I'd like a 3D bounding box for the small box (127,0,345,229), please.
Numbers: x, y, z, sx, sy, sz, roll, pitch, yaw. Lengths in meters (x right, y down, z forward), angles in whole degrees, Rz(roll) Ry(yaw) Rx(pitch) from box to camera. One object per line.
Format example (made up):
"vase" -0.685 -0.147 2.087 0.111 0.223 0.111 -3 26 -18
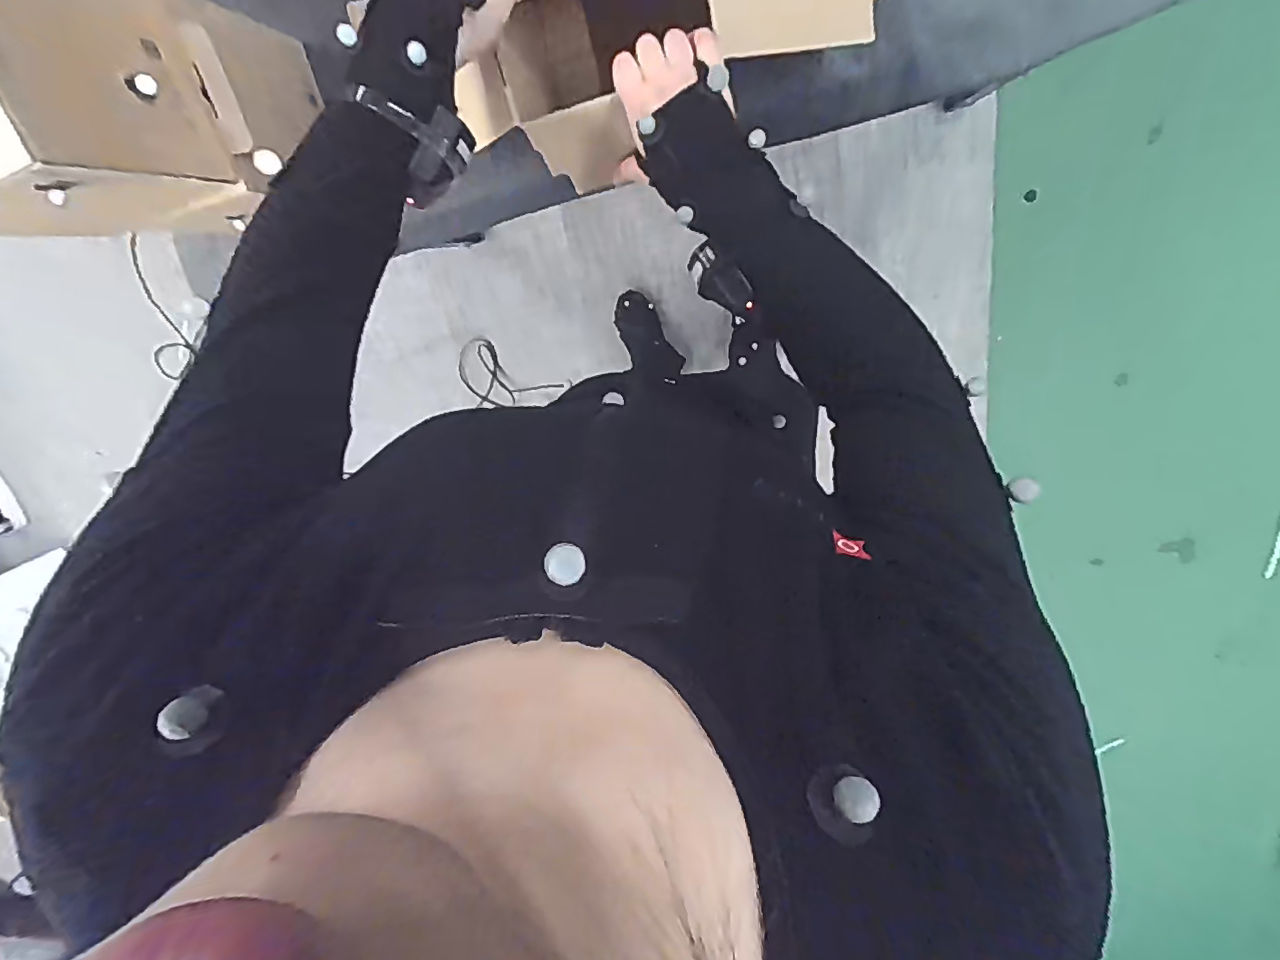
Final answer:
"small box" -0.456 -0.378 0.582 0.179 0.176 0.168 -6 114 14

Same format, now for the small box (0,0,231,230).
"small box" -0.499 -0.311 0.440 0.179 0.176 0.168 -11 112 15
